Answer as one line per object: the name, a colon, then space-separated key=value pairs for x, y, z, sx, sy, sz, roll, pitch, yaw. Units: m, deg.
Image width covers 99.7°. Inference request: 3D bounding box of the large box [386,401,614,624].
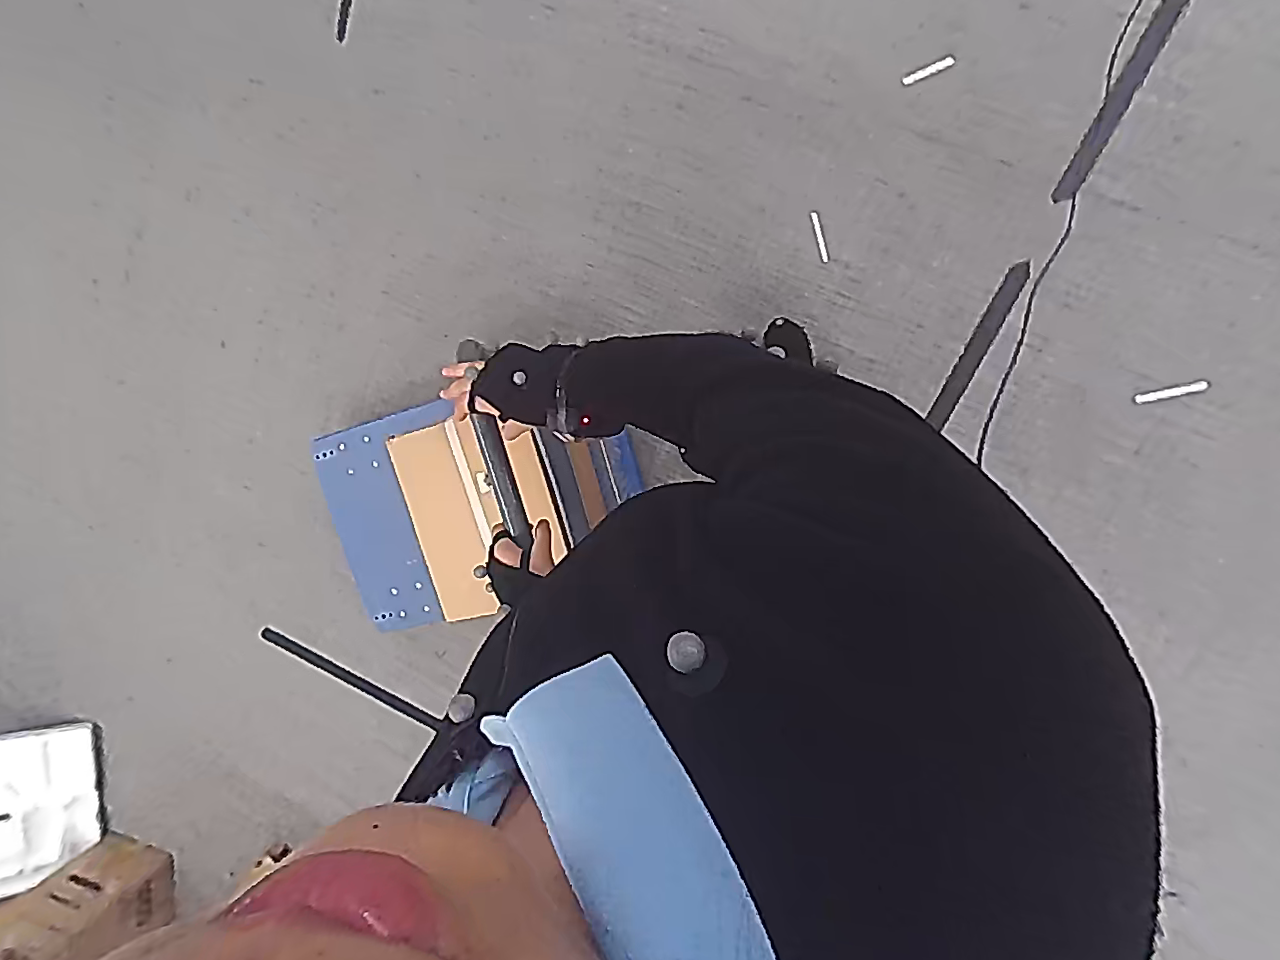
large box: x=-0.290 y=0.056 z=1.229 sx=0.320 sy=0.320 sz=0.408 roll=-15 pitch=96 yaw=13
